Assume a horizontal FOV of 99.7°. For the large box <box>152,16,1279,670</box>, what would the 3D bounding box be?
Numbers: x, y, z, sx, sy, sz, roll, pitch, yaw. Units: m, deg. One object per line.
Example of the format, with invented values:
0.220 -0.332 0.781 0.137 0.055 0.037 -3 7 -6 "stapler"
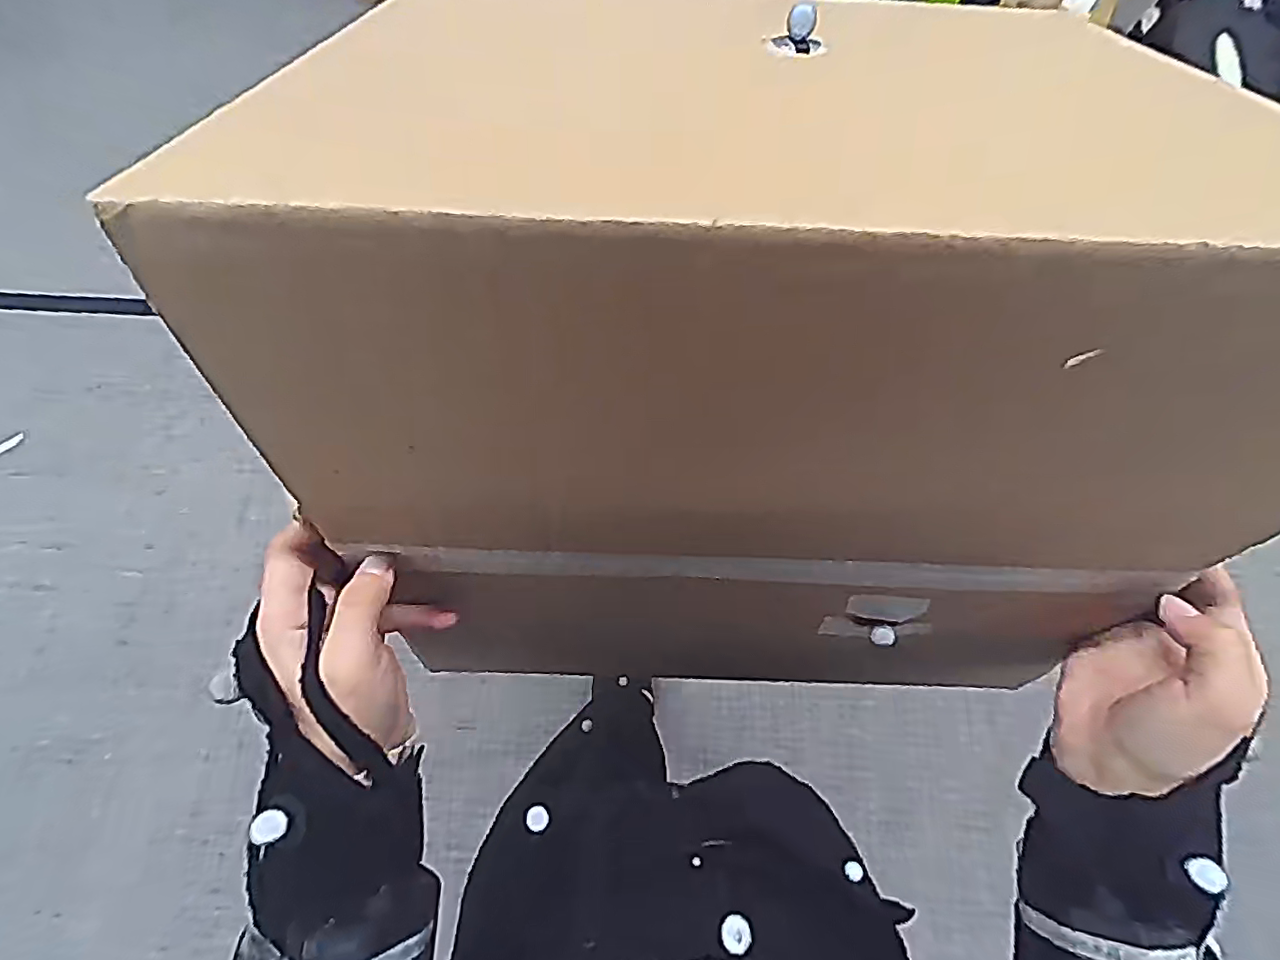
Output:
0.055 -0.080 0.360 0.408 0.320 0.320 1 51 -1 "large box"
